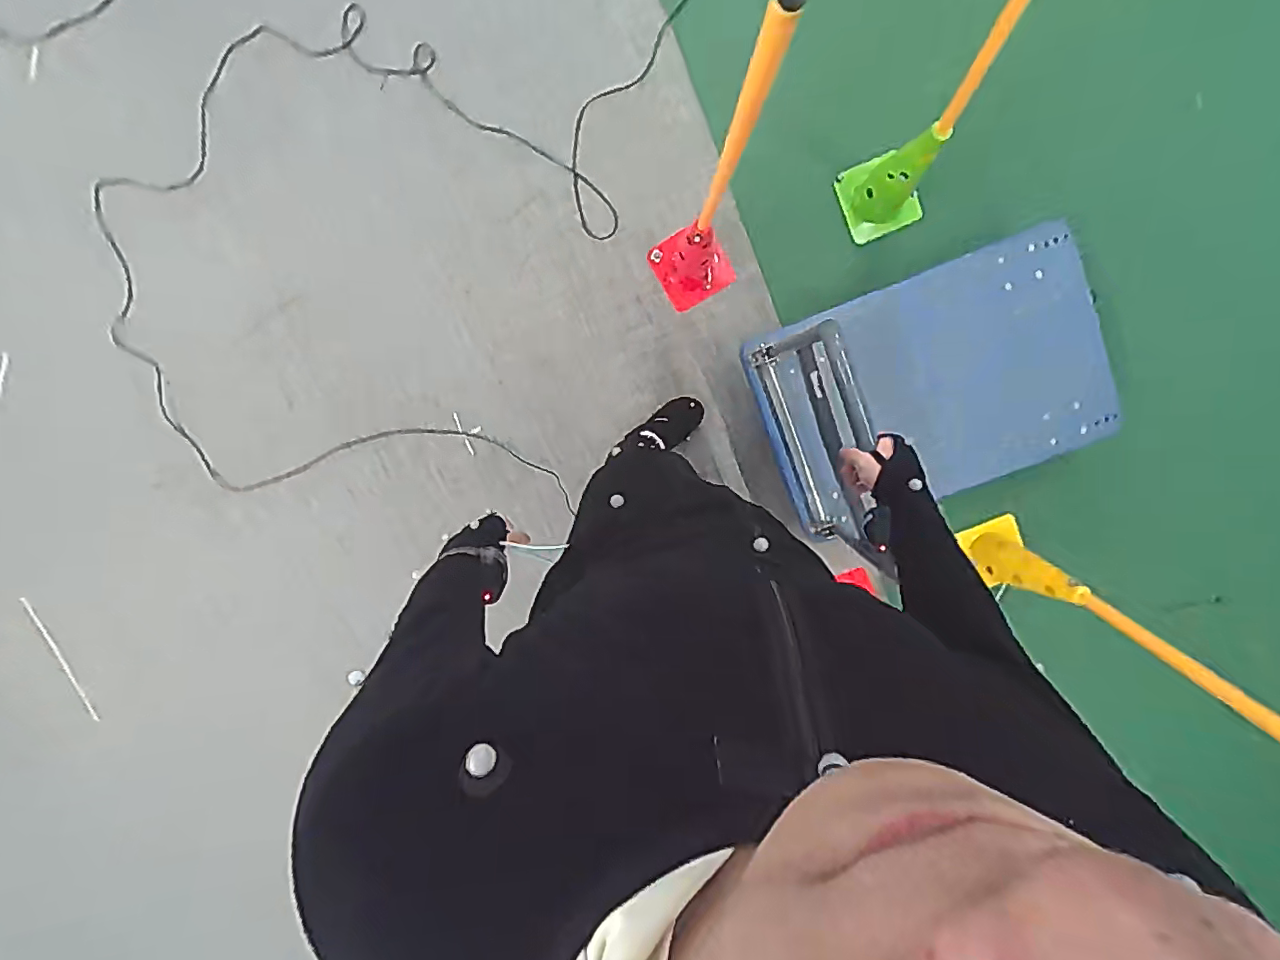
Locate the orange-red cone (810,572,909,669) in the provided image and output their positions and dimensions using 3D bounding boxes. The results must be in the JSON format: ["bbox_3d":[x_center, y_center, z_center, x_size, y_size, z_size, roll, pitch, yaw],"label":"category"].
[{"bbox_3d":[0.629,0.412,1.467,0.199,0.360,0.198,-22,97,2],"label":"orange-red cone"}]

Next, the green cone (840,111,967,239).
[{"bbox_3d":[0.665,-0.767,1.309,0.202,0.368,0.200,-22,96,3],"label":"green cone"}]
